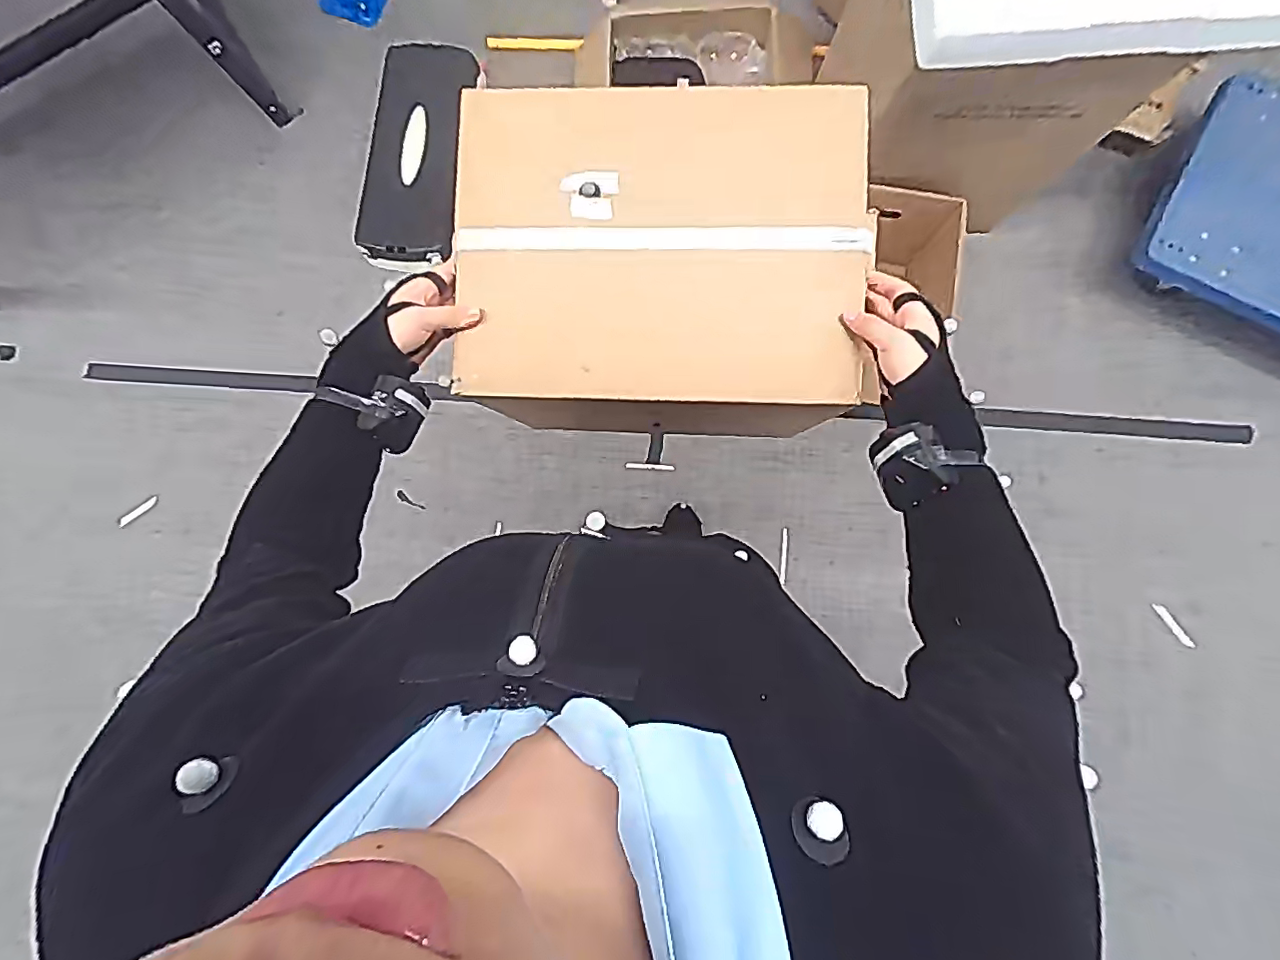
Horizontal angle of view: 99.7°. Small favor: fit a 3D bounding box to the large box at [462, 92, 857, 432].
[{"bbox_3d":[0.030,-0.230,0.694,0.408,0.320,0.320,2,87,5],"label":"large box"}]
